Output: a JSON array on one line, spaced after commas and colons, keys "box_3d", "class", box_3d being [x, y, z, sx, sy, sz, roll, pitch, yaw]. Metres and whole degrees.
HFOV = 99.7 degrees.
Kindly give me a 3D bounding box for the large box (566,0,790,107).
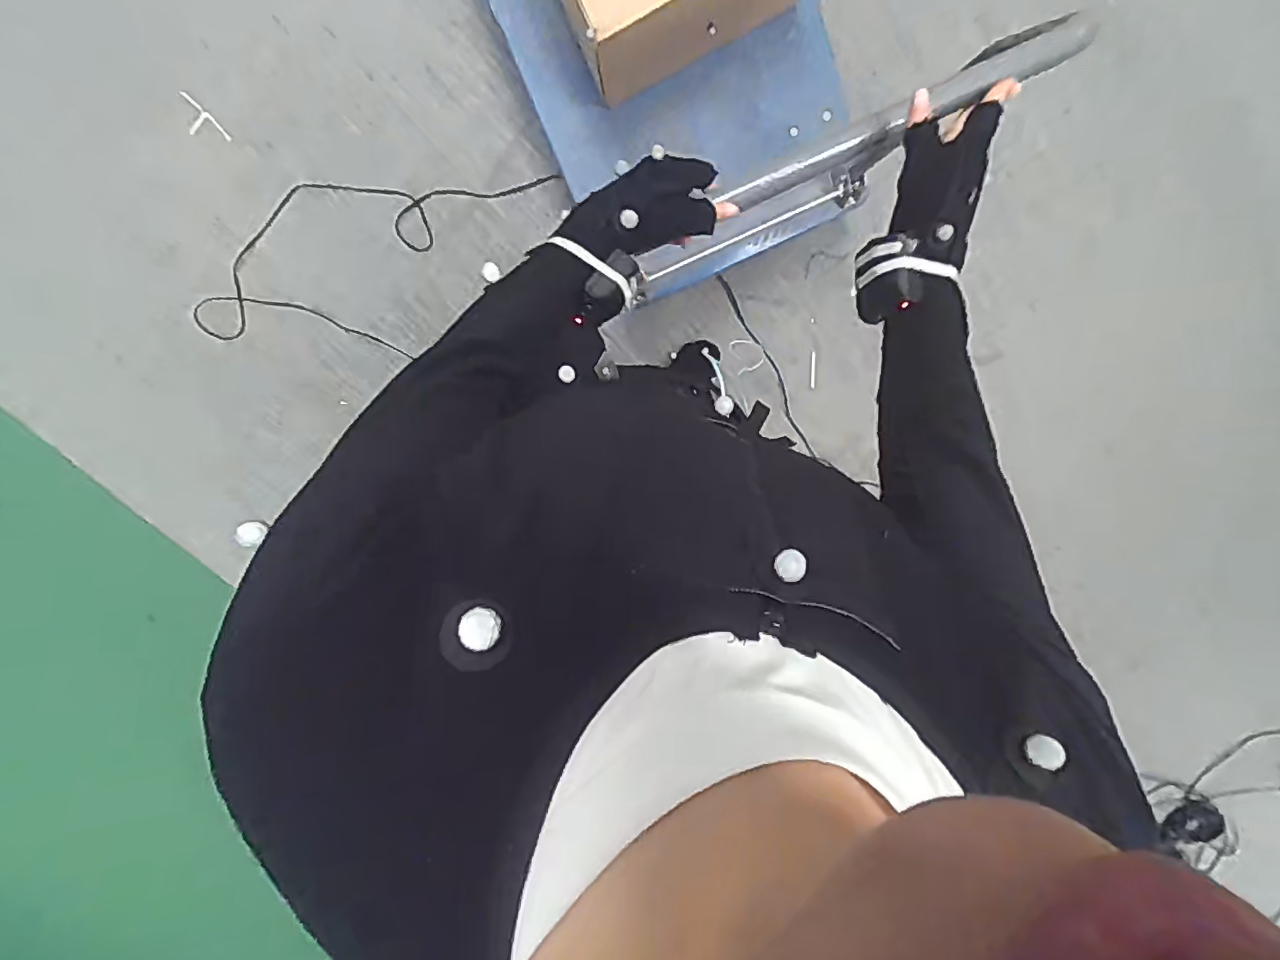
[{"box_3d": [0.056, -0.908, 0.874, 0.408, 0.320, 0.320, -25, 106, 9], "class": "large box"}]
